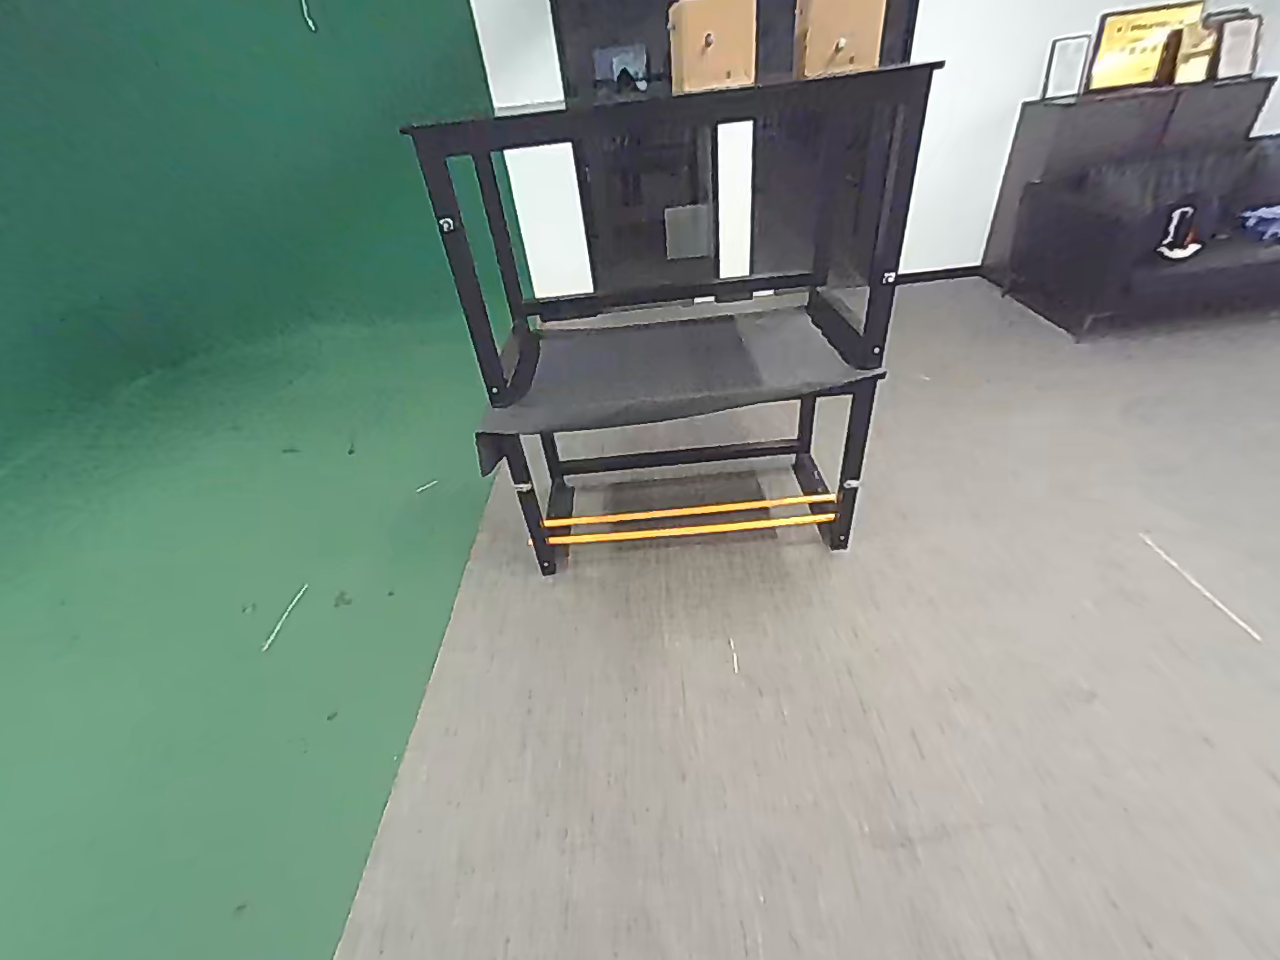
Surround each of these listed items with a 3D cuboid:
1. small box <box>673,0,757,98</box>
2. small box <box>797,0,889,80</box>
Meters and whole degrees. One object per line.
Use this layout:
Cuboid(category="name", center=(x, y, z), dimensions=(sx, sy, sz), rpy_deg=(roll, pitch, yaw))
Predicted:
Cuboid(category="small box", center=(0.176, -1.015, 1.276), dimensions=(0.168, 0.176, 0.179), rpy_deg=(-8, 36, -2))
Cuboid(category="small box", center=(0.468, -1.049, 1.267), dimensions=(0.168, 0.176, 0.179), rpy_deg=(-3, 37, 7))
